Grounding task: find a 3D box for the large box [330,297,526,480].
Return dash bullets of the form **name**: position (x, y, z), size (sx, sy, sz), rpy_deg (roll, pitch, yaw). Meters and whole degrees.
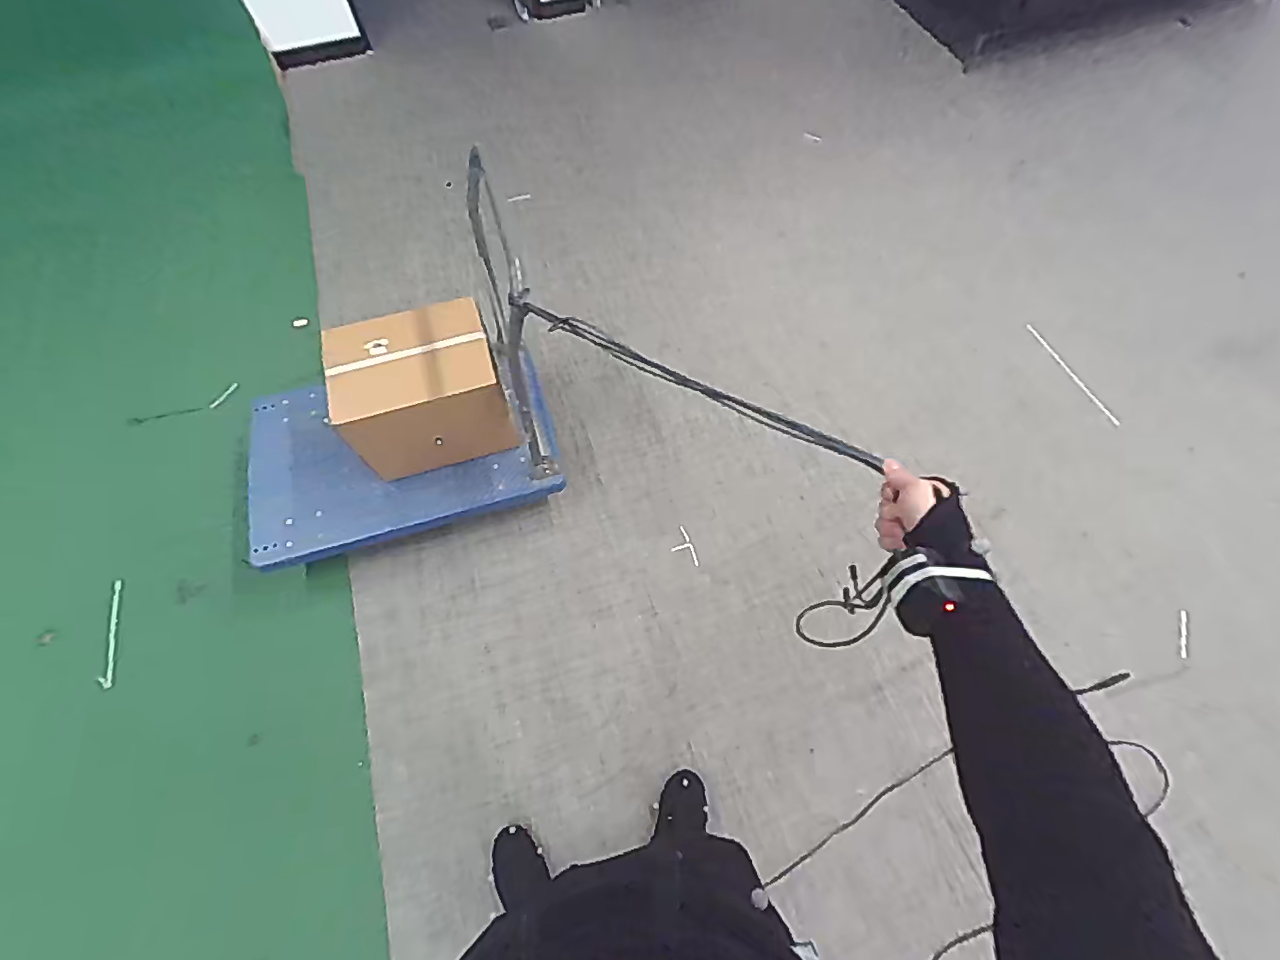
- **large box**: position (-0.573, -0.245, 1.506), size (0.408, 0.320, 0.320), rpy_deg (-17, 64, -7)
